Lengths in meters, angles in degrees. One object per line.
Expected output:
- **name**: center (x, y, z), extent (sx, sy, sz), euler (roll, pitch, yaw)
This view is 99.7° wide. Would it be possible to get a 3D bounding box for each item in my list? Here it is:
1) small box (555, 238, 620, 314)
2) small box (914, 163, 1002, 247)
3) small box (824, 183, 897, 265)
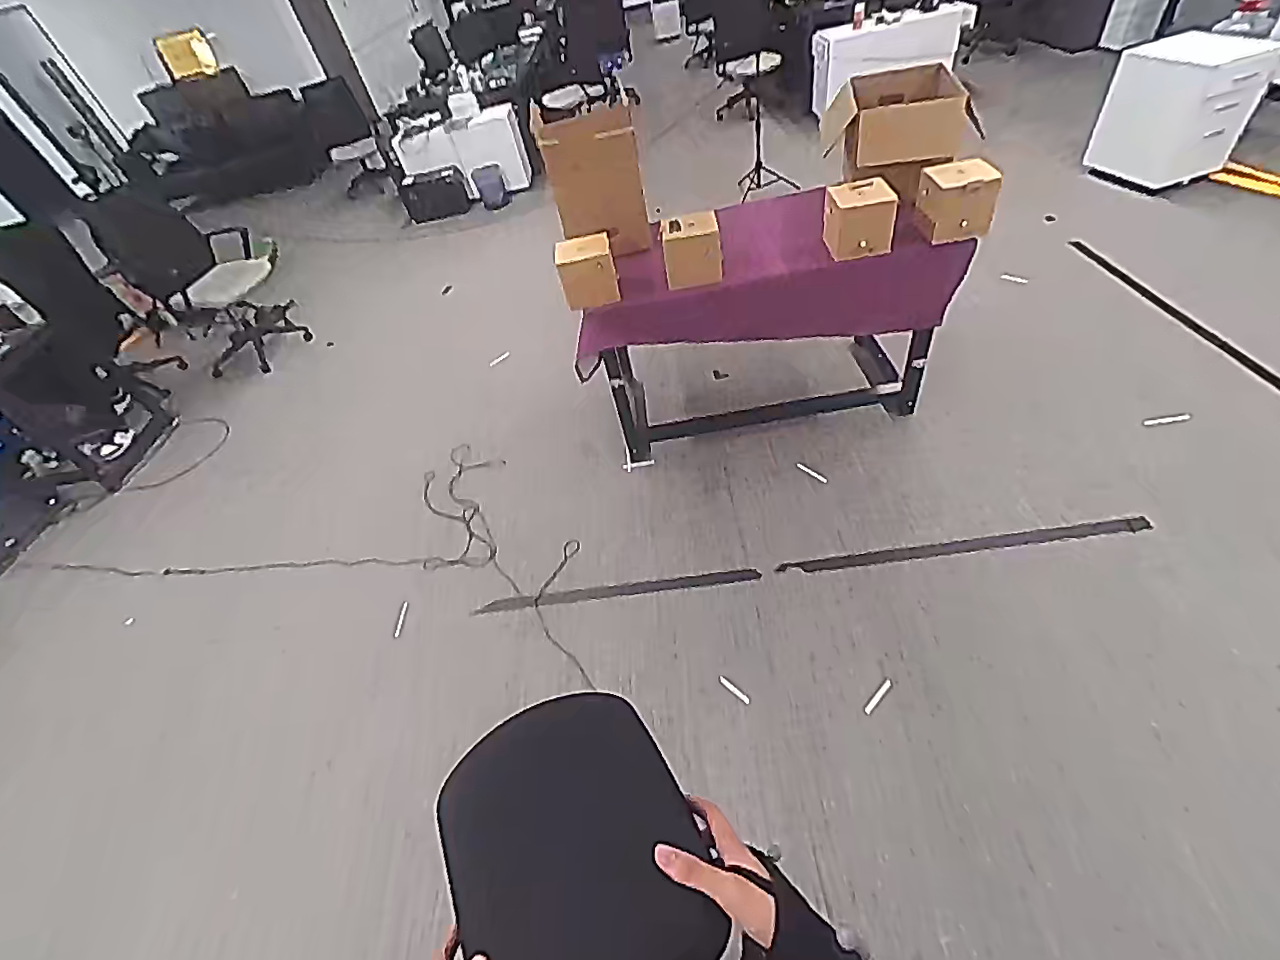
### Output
- **small box**: center (-0.171, -0.666, 1.781), extent (0.179, 0.176, 0.168), euler (-11, 45, 2)
- **small box**: center (0.958, -0.838, 1.651), extent (0.168, 0.176, 0.179), euler (-7, 46, 9)
- **small box**: center (0.679, -0.799, 1.688), extent (0.168, 0.176, 0.179), euler (-8, 47, 8)
